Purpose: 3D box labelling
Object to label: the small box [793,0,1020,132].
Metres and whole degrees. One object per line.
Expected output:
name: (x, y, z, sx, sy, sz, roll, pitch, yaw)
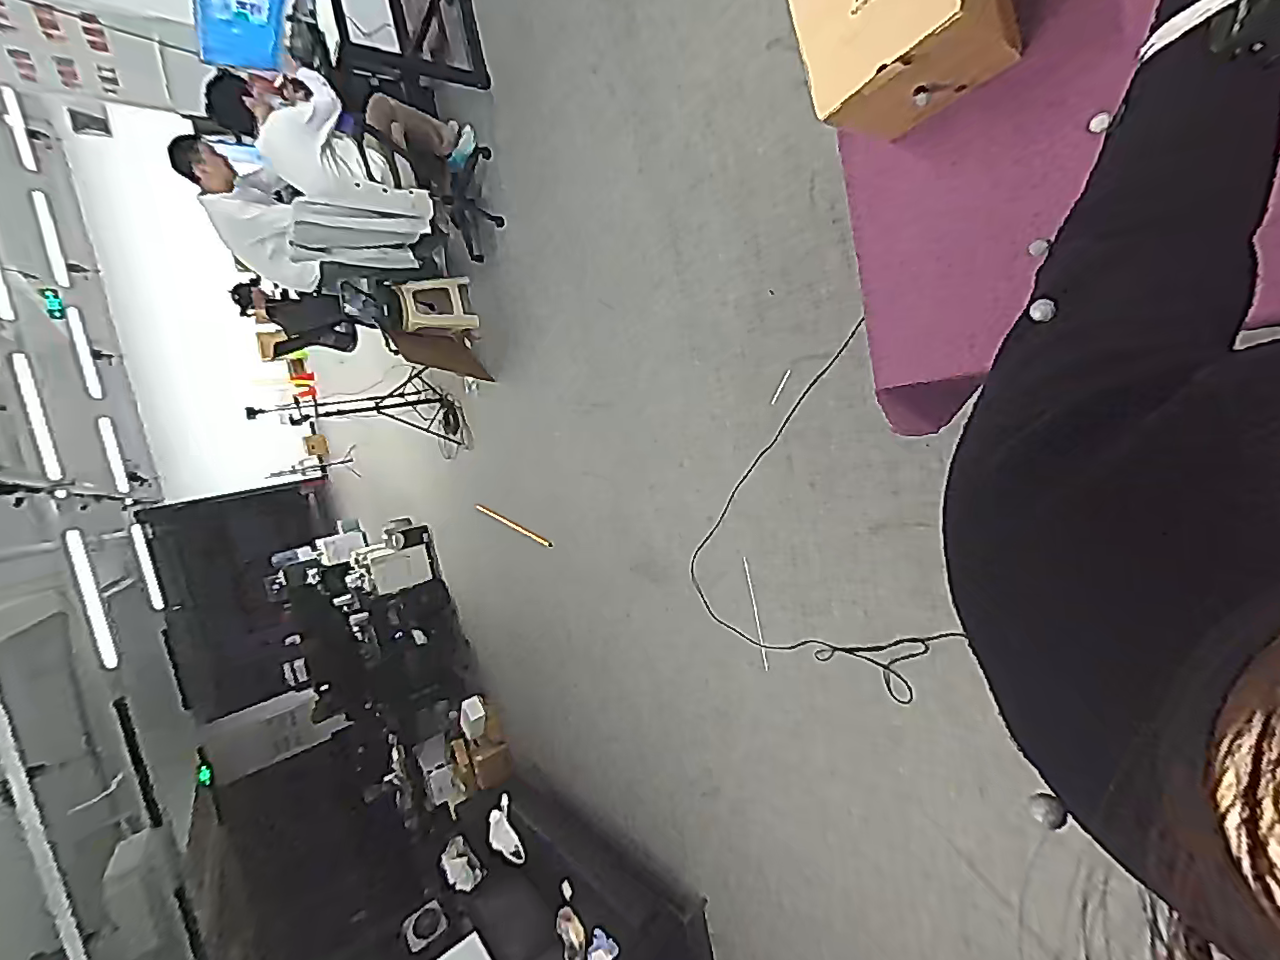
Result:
small box: (0.309, -0.538, 0.629, 0.168, 0.176, 0.179, -12, 94, 53)
